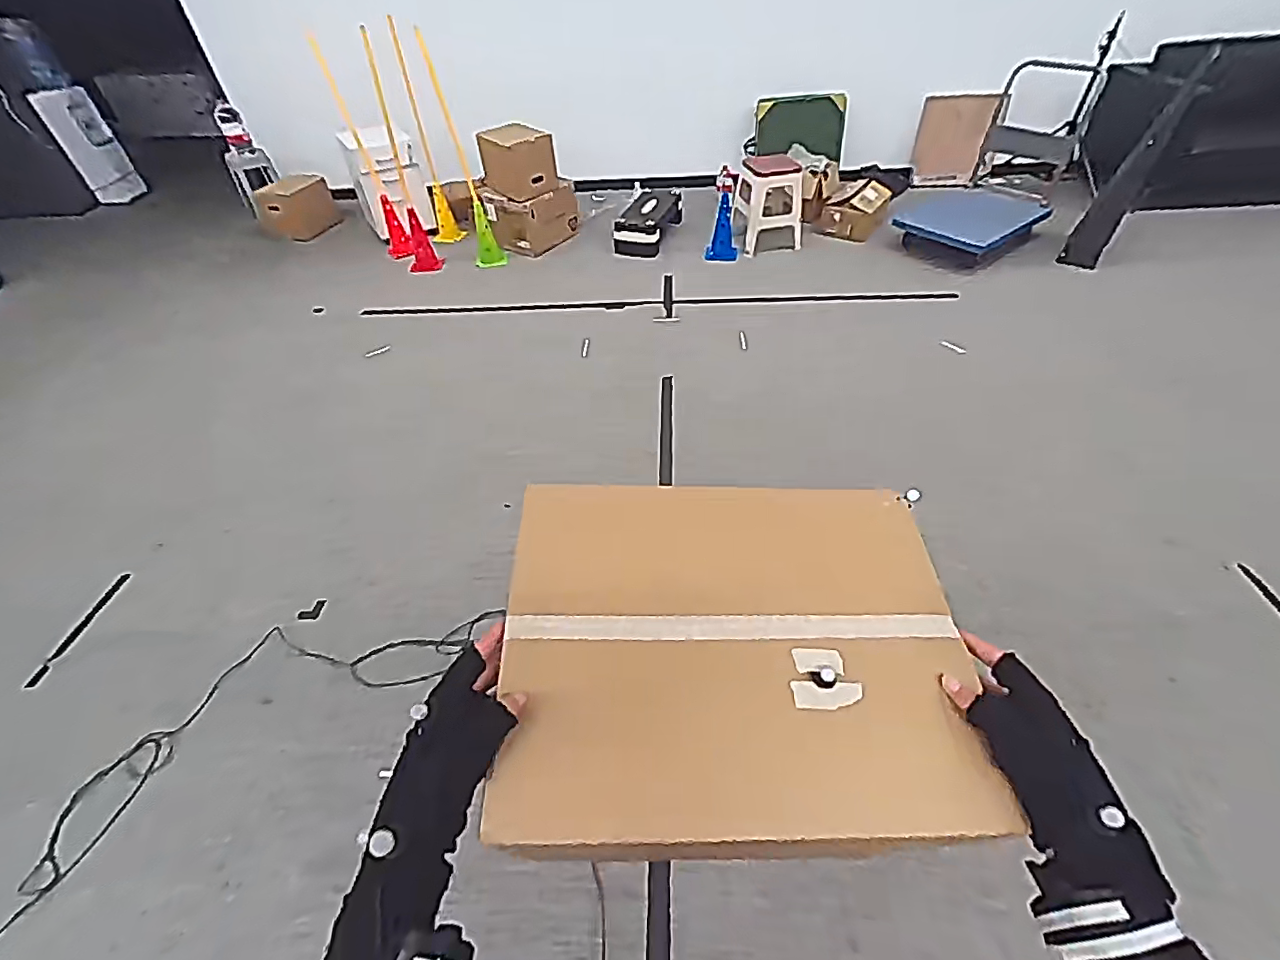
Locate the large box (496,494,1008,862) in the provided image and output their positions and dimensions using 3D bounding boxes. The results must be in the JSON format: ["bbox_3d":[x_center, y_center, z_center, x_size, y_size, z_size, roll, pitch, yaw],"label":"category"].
[{"bbox_3d":[0.075,0.228,0.611,0.408,0.320,0.320,1,53,-4],"label":"large box"}]
